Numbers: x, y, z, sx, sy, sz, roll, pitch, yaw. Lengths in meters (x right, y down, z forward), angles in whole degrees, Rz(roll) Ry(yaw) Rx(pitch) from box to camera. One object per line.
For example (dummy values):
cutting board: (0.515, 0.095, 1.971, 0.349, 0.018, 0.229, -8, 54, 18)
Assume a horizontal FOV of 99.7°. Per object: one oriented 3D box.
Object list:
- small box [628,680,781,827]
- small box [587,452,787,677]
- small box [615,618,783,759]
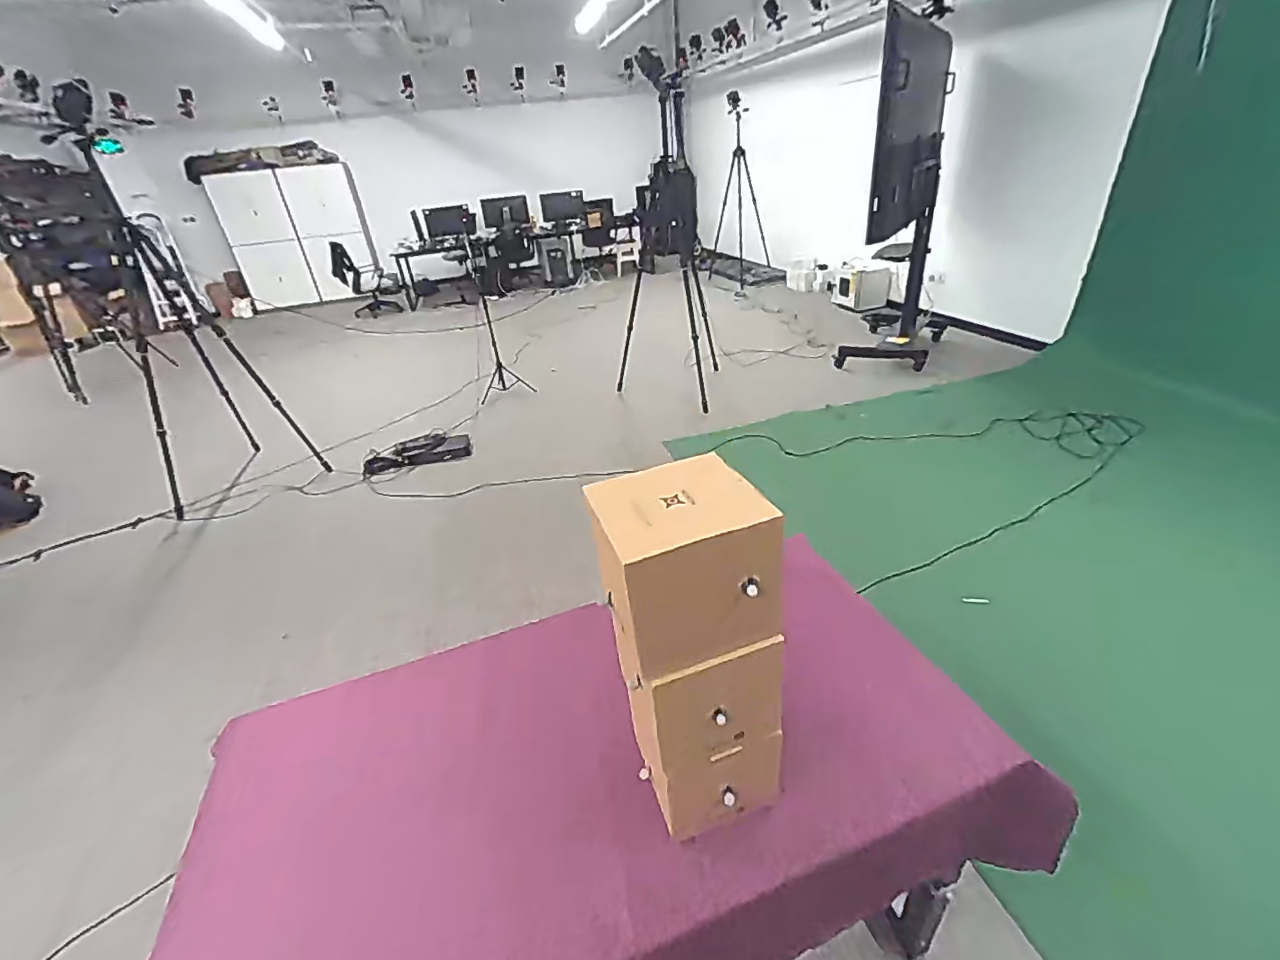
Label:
small box: (0.091, 0.372, 0.796, 0.168, 0.176, 0.179, -14, 33, -13)
small box: (0.050, 0.092, 0.629, 0.179, 0.176, 0.168, -15, 31, -13)
small box: (0.072, 0.232, 0.710, 0.168, 0.176, 0.179, -14, 32, -14)
